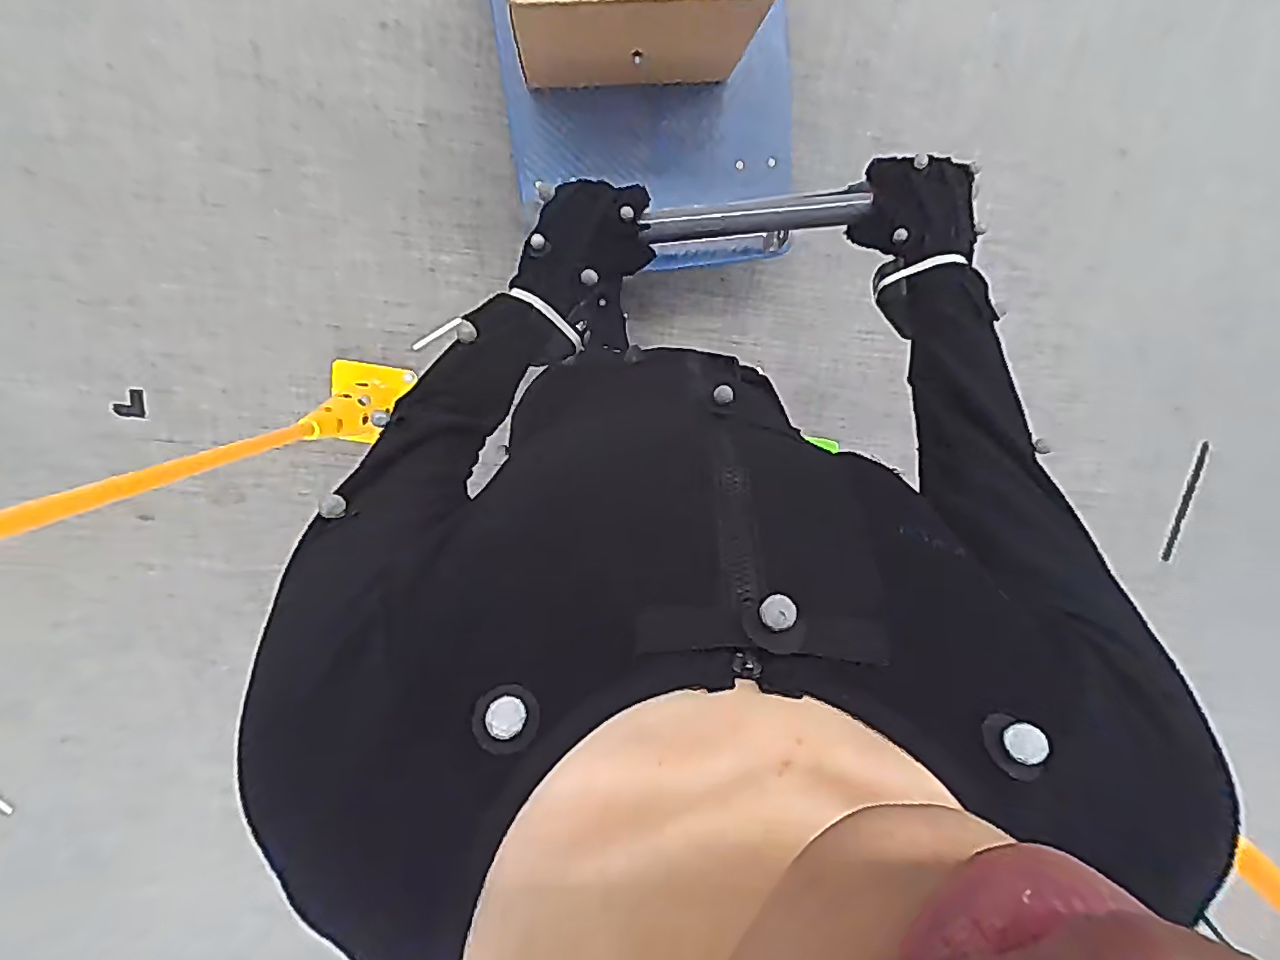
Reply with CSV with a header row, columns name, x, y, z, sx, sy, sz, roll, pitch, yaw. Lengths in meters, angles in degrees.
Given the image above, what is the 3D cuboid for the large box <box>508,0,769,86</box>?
name,x,y,z,sx,sy,sz,roll,pitch,yaw
large box,-0.018,-0.896,0.895,0.408,0.320,0.320,-6,107,-4

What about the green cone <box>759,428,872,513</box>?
name,x,y,z,sx,sy,sz,roll,pitch,yaw
green cone,0.462,0.008,1.348,0.202,0.368,0.200,8,104,-9
